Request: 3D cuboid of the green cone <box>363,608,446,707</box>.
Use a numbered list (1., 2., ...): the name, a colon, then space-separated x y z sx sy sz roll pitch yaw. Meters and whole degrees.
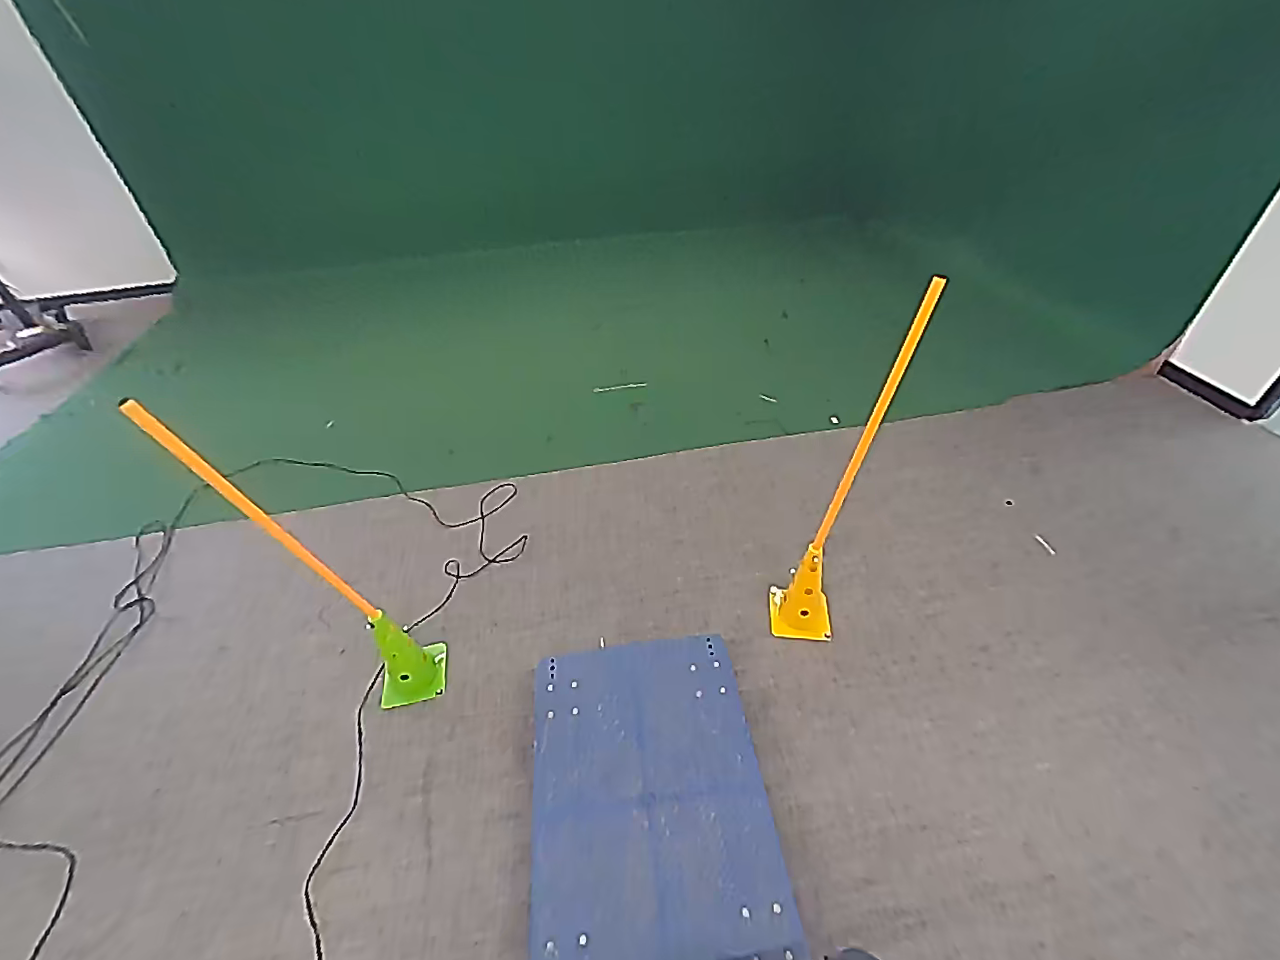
1. green cone: -0.769 0.518 1.698 0.202 0.368 0.200 -13 42 -7
